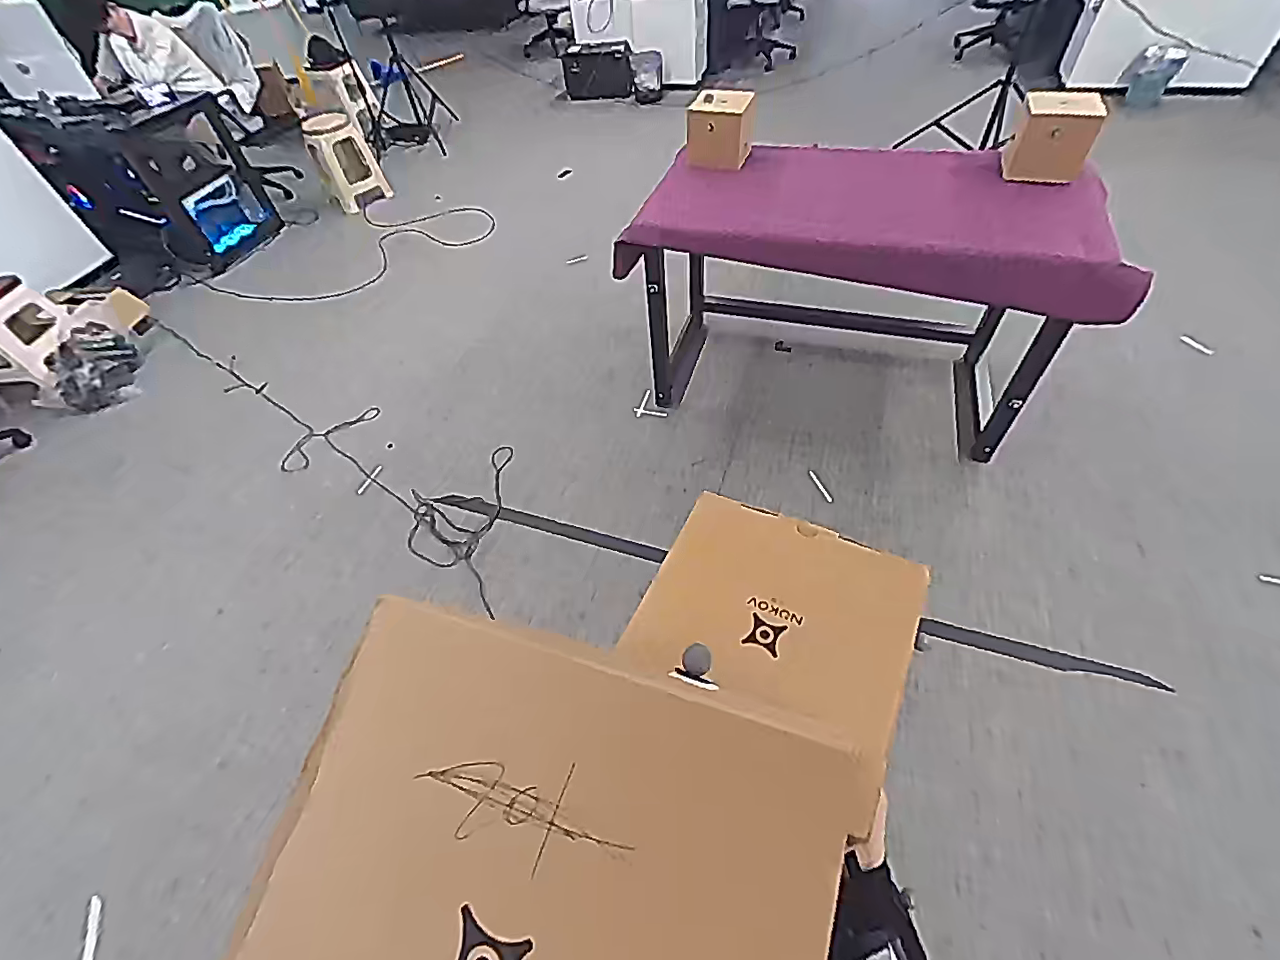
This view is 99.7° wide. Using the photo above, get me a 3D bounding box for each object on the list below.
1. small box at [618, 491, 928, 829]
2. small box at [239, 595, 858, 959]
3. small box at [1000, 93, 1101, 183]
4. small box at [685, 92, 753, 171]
[{"bbox_3d":[0.091,0.144,0.405,0.168,0.176,0.179,18,53,21],"label":"small box"},{"bbox_3d":[-0.018,0.163,0.219,0.168,0.176,0.179,10,72,19],"label":"small box"},{"bbox_3d":[1.128,-0.951,1.507,0.179,0.176,0.168,13,55,15],"label":"small box"},{"bbox_3d":[0.251,-1.120,1.740,0.179,0.176,0.168,15,56,16],"label":"small box"}]
